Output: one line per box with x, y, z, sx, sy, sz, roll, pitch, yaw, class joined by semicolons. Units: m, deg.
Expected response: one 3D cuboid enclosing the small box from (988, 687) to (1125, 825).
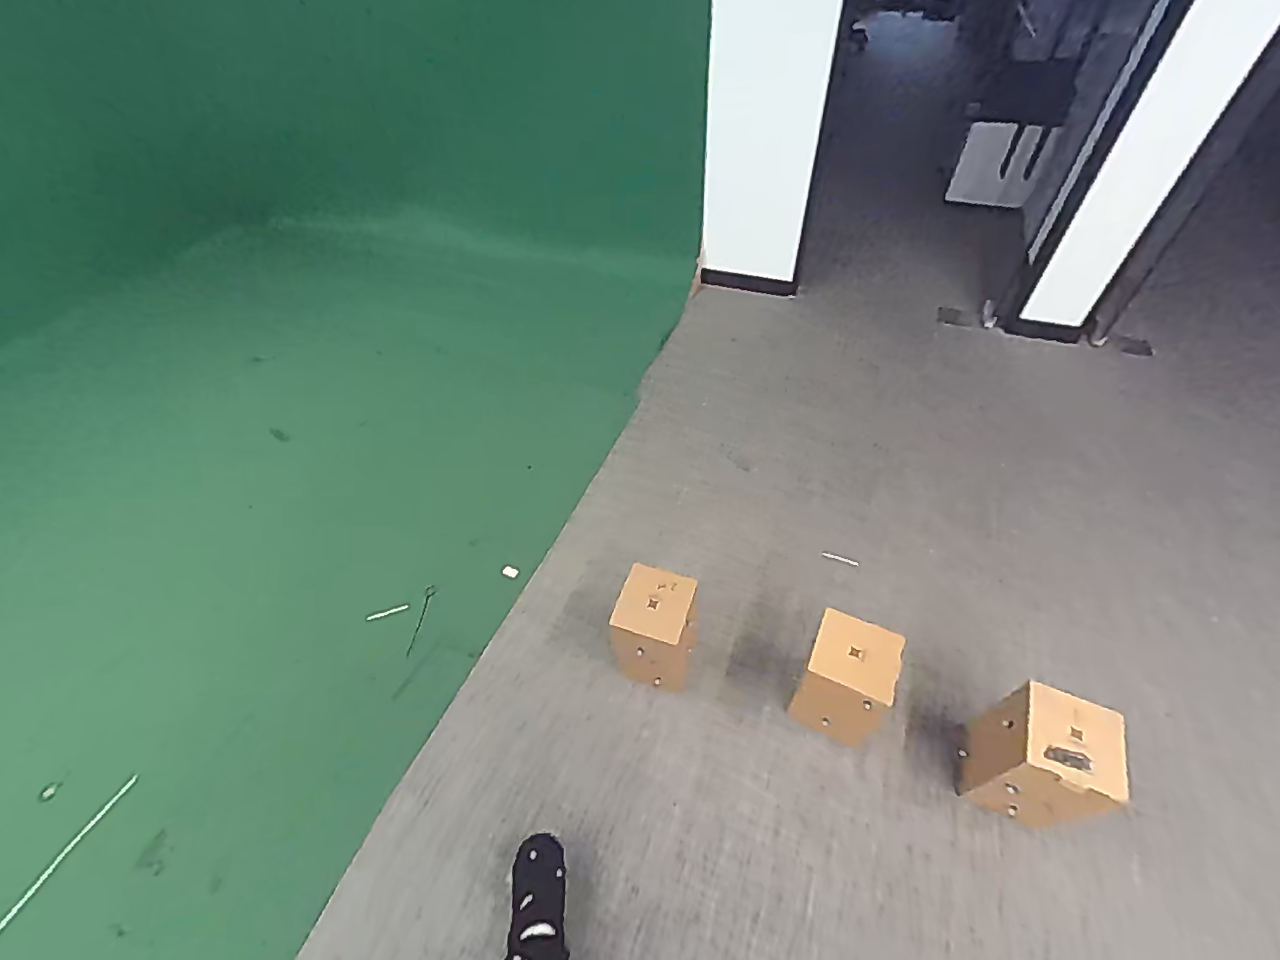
0.831;0.562;1.093;0.168;0.176;0.179;19;52;19;small box

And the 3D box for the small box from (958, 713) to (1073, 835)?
0.842;0.668;1.220;0.168;0.176;0.179;18;53;18;small box

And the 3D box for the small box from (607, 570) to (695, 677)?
0.033;0.355;1.324;0.168;0.176;0.179;15;51;14;small box

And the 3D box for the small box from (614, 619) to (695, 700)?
0.043;0.461;1.450;0.168;0.176;0.179;15;51;15;small box

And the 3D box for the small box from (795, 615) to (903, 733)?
0.465;0.442;1.222;0.179;0.176;0.168;19;52;19;small box
